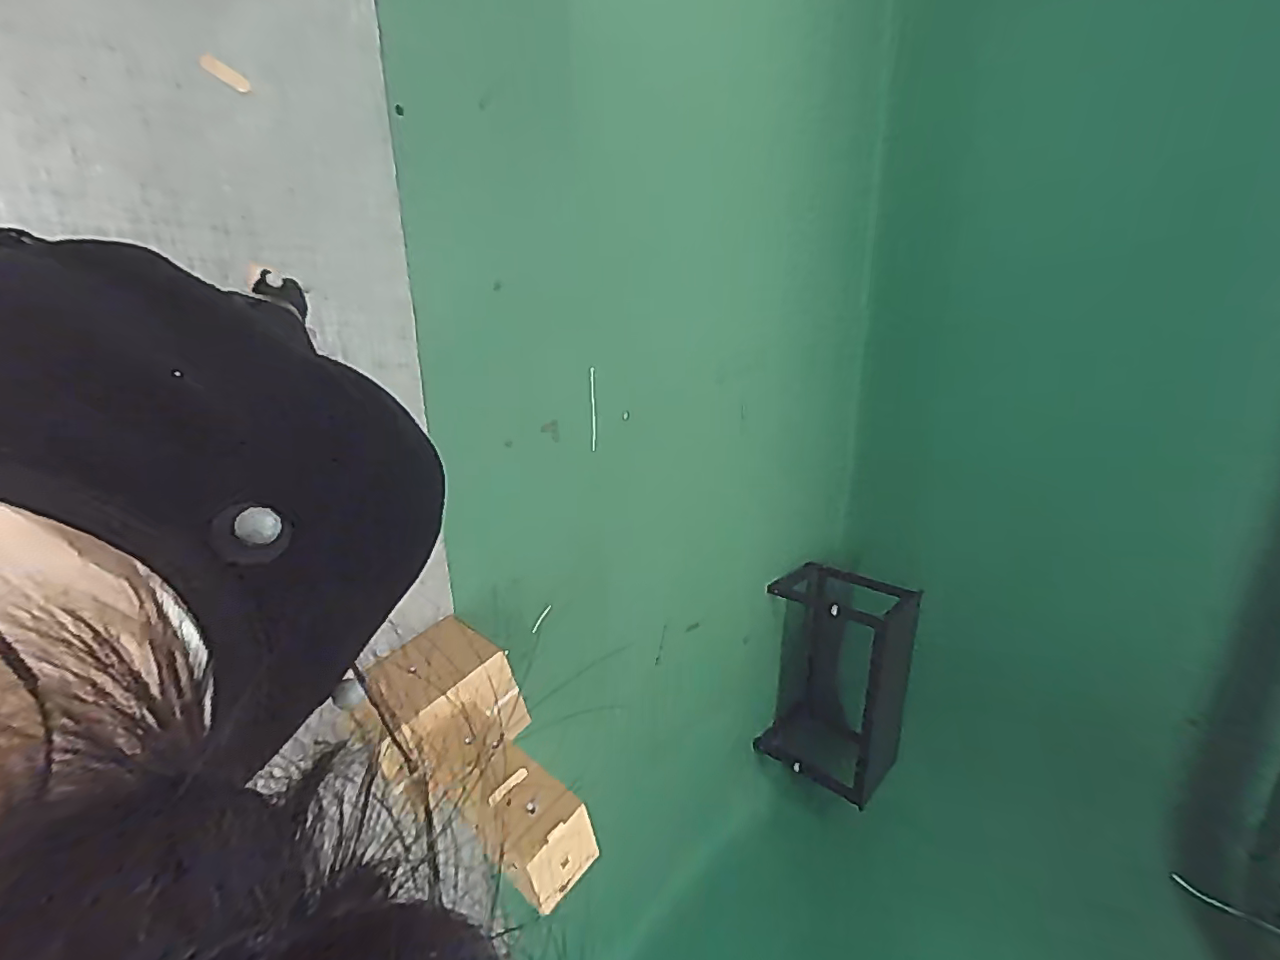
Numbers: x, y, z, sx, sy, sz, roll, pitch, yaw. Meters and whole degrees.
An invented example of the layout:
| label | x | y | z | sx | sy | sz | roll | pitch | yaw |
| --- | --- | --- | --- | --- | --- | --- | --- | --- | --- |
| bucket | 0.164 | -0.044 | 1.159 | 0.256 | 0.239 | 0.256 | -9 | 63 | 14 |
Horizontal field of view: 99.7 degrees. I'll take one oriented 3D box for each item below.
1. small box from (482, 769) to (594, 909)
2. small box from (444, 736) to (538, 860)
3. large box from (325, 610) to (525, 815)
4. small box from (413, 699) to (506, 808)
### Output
| label | x | y | z | sx | sy | sz | roll | pitch | yaw |
| --- | --- | --- | --- | --- | --- | --- | --- | --- | --- |
| small box | -0.231 | 0.789 | 1.215 | 0.168 | 0.176 | 0.179 | -29 | 119 | -39 |
| small box | -0.354 | 0.759 | 1.320 | 0.168 | 0.176 | 0.179 | -28 | 119 | -40 |
| large box | -0.627 | 0.663 | 1.611 | 0.408 | 0.320 | 0.320 | -34 | 126 | -39 |
| small box | -0.467 | 0.721 | 1.433 | 0.179 | 0.176 | 0.168 | -30 | 120 | -39 |
